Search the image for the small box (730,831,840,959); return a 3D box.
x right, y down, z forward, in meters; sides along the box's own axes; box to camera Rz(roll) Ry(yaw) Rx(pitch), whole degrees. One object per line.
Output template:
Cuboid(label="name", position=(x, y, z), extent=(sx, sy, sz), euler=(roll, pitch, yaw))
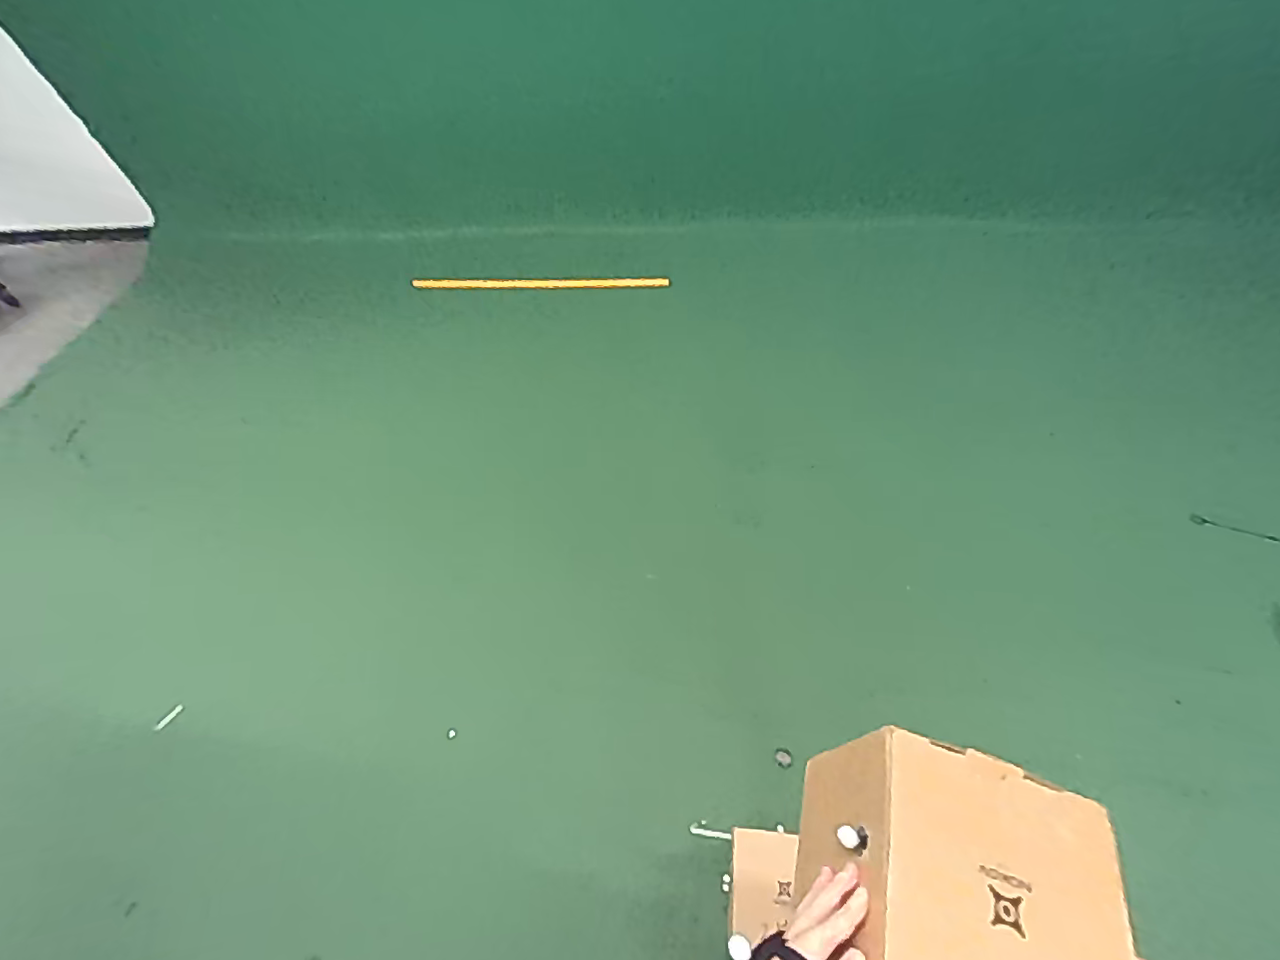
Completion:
Cuboid(label="small box", position=(0.244, 0.732, 0.942), extent=(0.168, 0.176, 0.179), euler=(1, 54, 10))
